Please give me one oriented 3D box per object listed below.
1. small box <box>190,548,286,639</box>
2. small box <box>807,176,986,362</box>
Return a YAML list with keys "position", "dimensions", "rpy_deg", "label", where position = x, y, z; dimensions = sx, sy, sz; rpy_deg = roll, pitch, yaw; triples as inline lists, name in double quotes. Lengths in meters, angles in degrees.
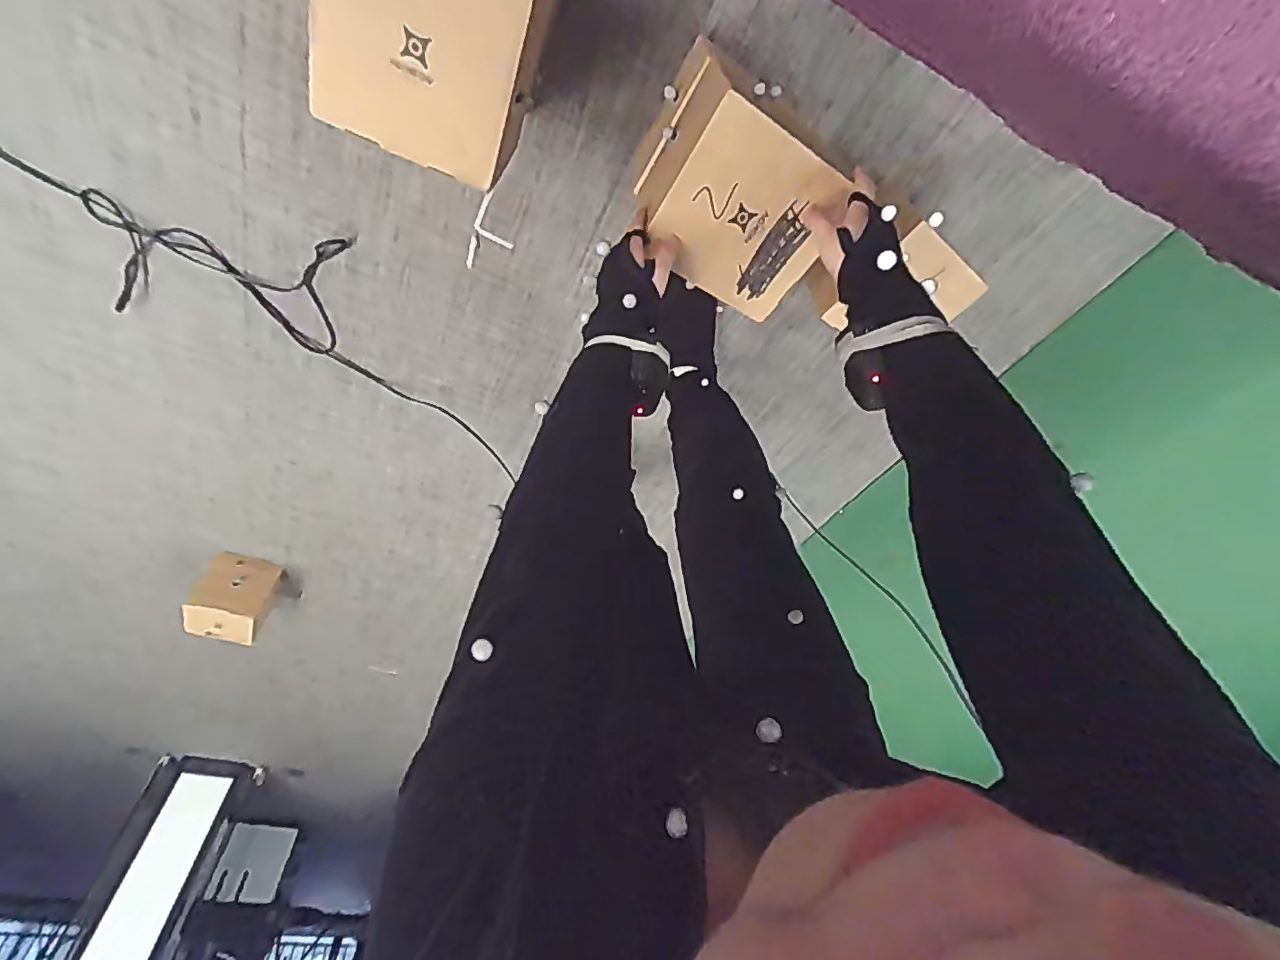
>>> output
- position: [-1.131, 0.318, 1.527]
  dimensions: [0.168, 0.176, 0.179]
  rpy_deg: [22, 131, -20]
  label: "small box"
- position: [0.382, -0.326, 0.843]
  dimensions: [0.168, 0.176, 0.179]
  rpy_deg: [27, 130, -25]
  label: "small box"
